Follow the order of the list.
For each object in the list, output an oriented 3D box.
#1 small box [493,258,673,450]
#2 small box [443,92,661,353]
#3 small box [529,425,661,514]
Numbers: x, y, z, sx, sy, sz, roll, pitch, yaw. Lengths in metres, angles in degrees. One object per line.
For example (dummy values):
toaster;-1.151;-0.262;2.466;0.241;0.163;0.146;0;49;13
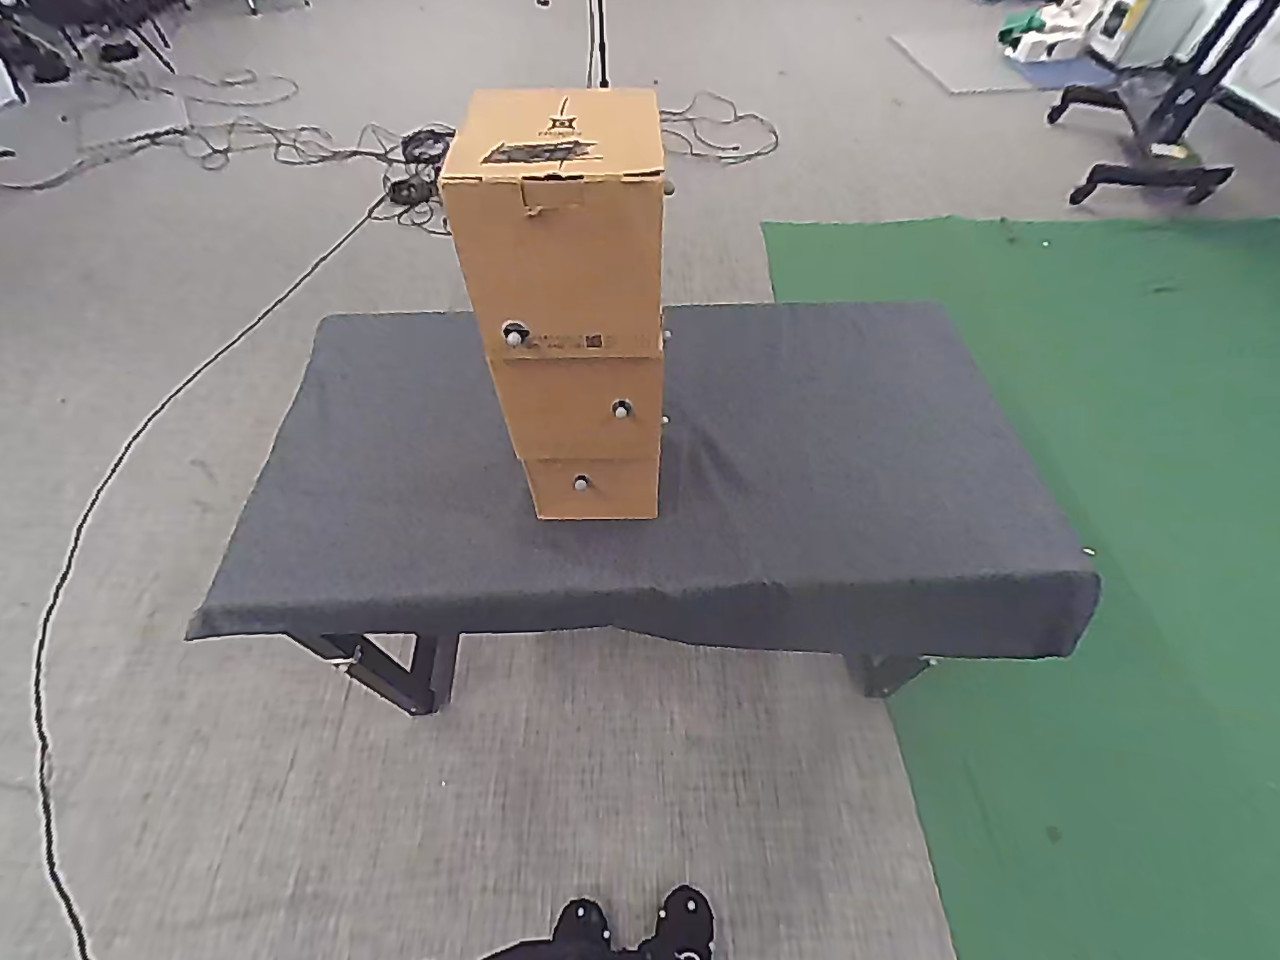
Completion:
small box;-0.062;-0.149;0.629;0.179;0.176;0.168;-3;55;-3
small box;-0.065;-0.236;0.509;0.168;0.176;0.179;0;53;-1
small box;-0.063;-0.061;0.788;0.179;0.176;0.168;-2;53;-3
